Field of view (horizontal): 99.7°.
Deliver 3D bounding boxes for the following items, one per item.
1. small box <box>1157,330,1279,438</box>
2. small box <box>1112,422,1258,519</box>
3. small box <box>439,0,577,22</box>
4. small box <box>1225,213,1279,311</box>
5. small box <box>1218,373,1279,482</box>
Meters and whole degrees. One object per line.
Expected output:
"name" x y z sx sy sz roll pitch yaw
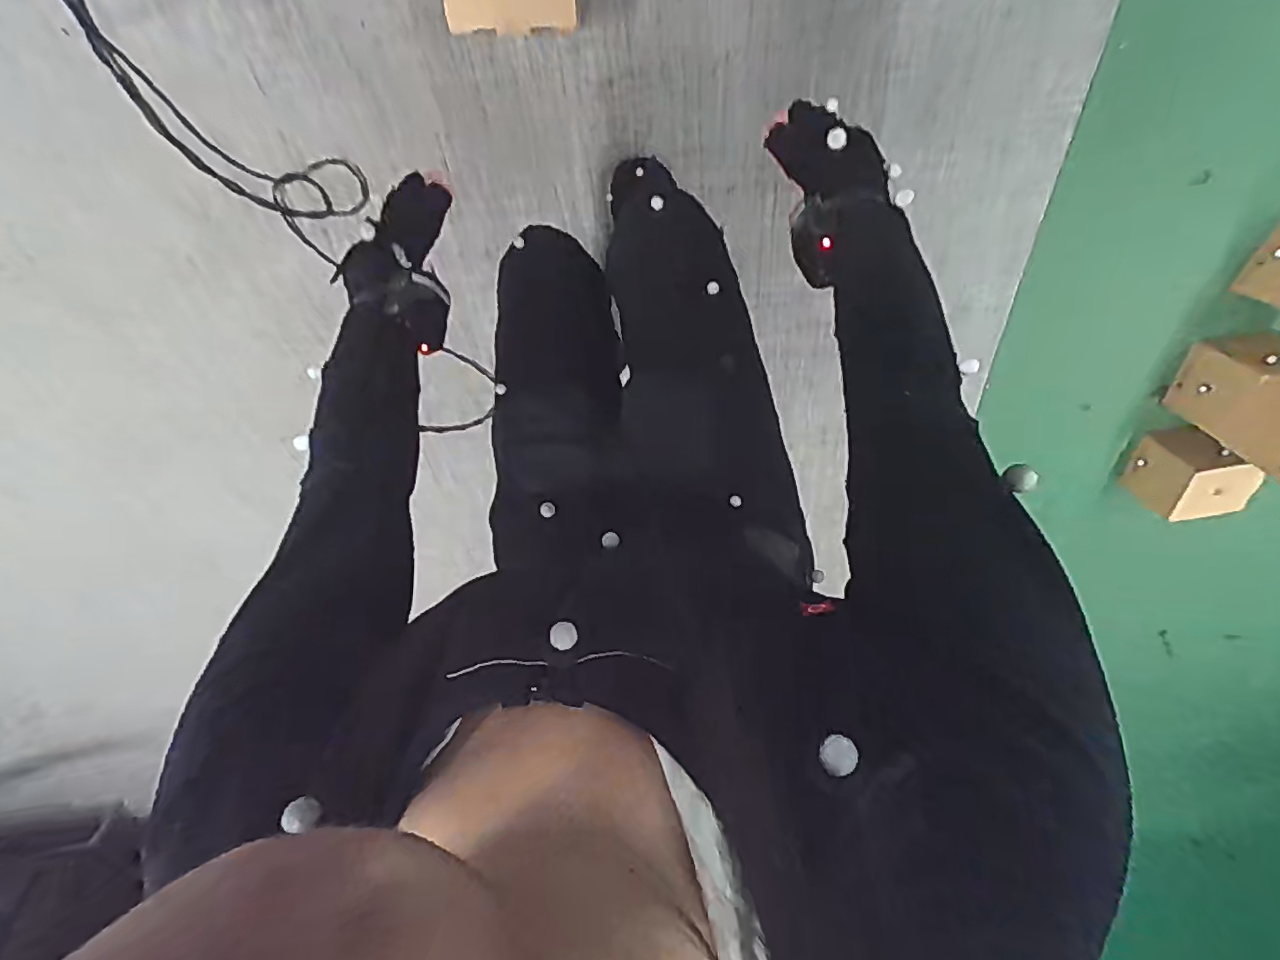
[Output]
"small box" 1.331 -0.217 1.204 0.179 0.176 0.168 -8 130 1
"small box" 1.366 -0.030 1.363 0.179 0.176 0.168 -10 130 3
"small box" -0.169 -0.692 0.677 0.168 0.176 0.179 -3 130 -2
"small box" 1.326 -0.416 1.039 0.179 0.176 0.168 3 129 -6
"small box" 1.348 -0.108 1.083 0.168 0.176 0.179 -6 130 0
